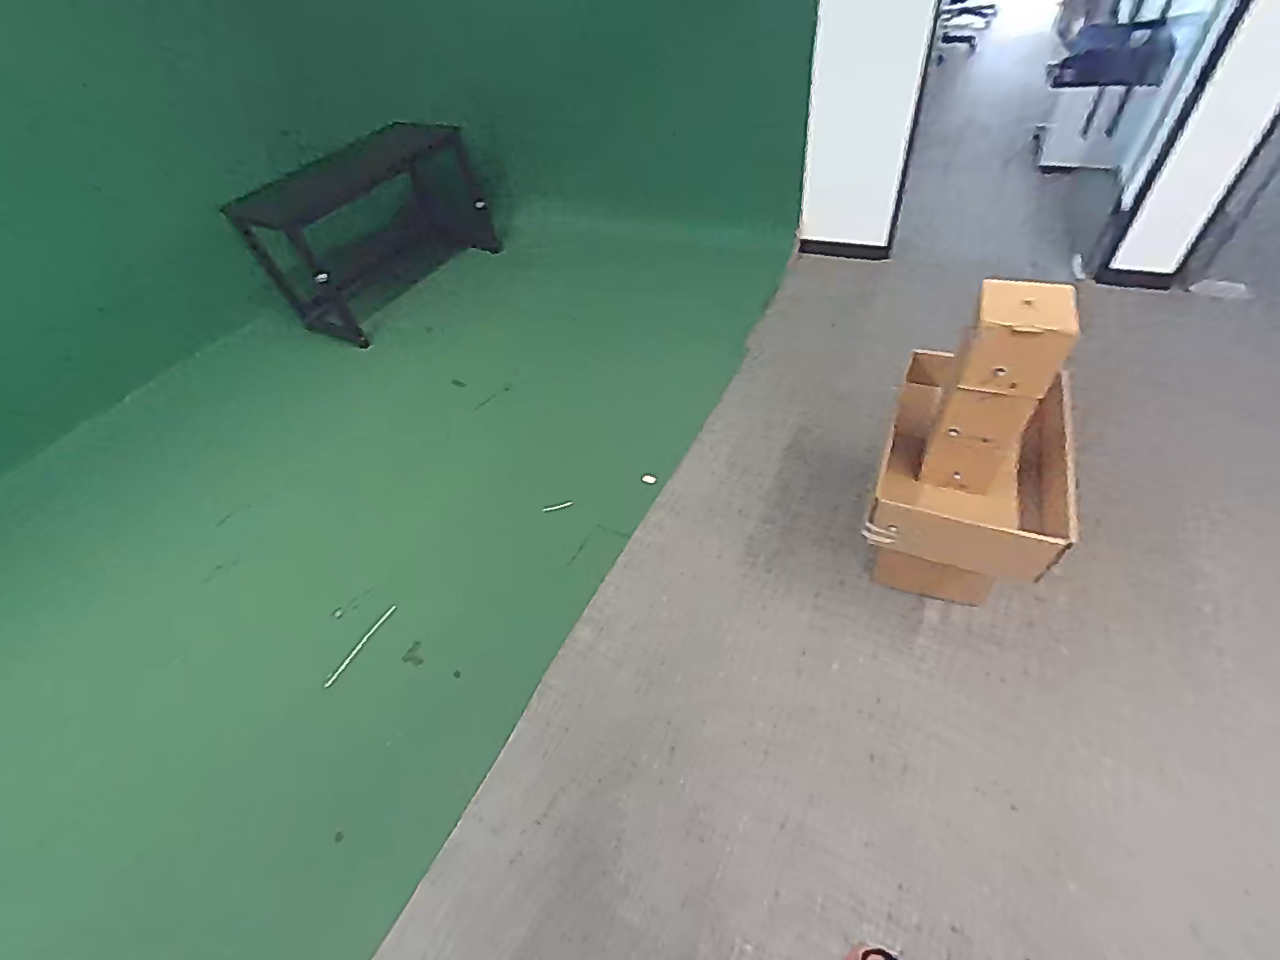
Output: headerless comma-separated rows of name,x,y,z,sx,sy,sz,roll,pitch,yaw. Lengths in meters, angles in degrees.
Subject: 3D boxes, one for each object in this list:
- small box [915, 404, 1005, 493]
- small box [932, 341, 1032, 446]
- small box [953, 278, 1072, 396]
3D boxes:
small box,0.834,-0.098,1.412,0.168,0.176,0.179,15,53,22
small box,0.813,-0.206,1.291,0.168,0.176,0.179,13,51,20
small box,0.793,-0.309,1.167,0.168,0.176,0.179,13,53,20
